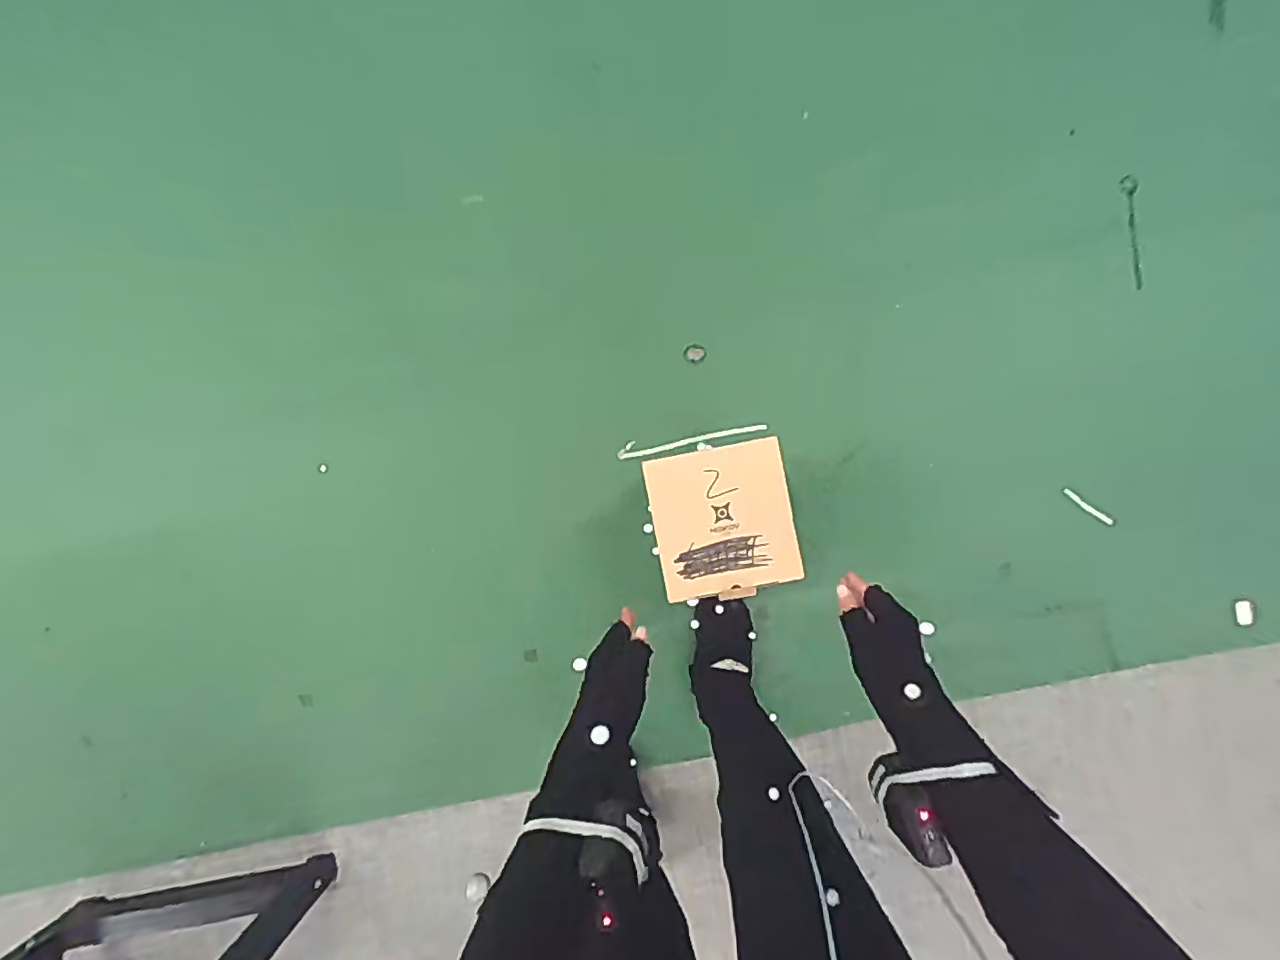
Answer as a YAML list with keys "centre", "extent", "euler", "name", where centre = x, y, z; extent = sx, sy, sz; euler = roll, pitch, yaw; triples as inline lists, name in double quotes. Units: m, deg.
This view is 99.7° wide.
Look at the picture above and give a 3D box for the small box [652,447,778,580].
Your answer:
- centre: [0.113, 0.051, 0.885]
  extent: [0.168, 0.176, 0.179]
  euler: [-11, 90, 2]
  name: "small box"
